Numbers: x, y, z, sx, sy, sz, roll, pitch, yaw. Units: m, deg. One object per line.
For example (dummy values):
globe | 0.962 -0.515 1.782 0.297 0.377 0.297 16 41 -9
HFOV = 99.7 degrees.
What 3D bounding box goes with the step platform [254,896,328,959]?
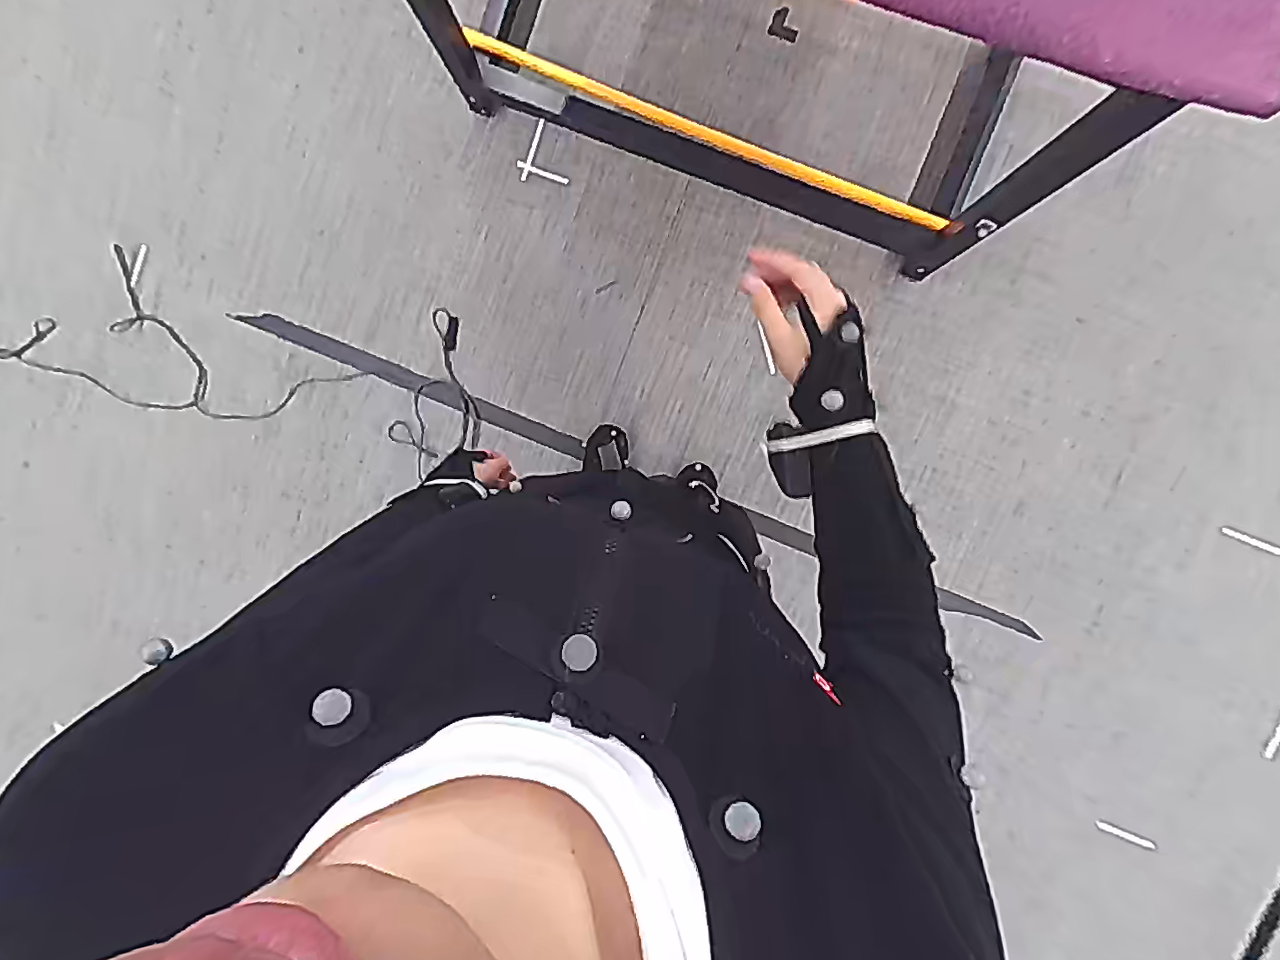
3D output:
step platform | -0.684 1.389 1.398 0.684 0.204 0.286 21 95 0
